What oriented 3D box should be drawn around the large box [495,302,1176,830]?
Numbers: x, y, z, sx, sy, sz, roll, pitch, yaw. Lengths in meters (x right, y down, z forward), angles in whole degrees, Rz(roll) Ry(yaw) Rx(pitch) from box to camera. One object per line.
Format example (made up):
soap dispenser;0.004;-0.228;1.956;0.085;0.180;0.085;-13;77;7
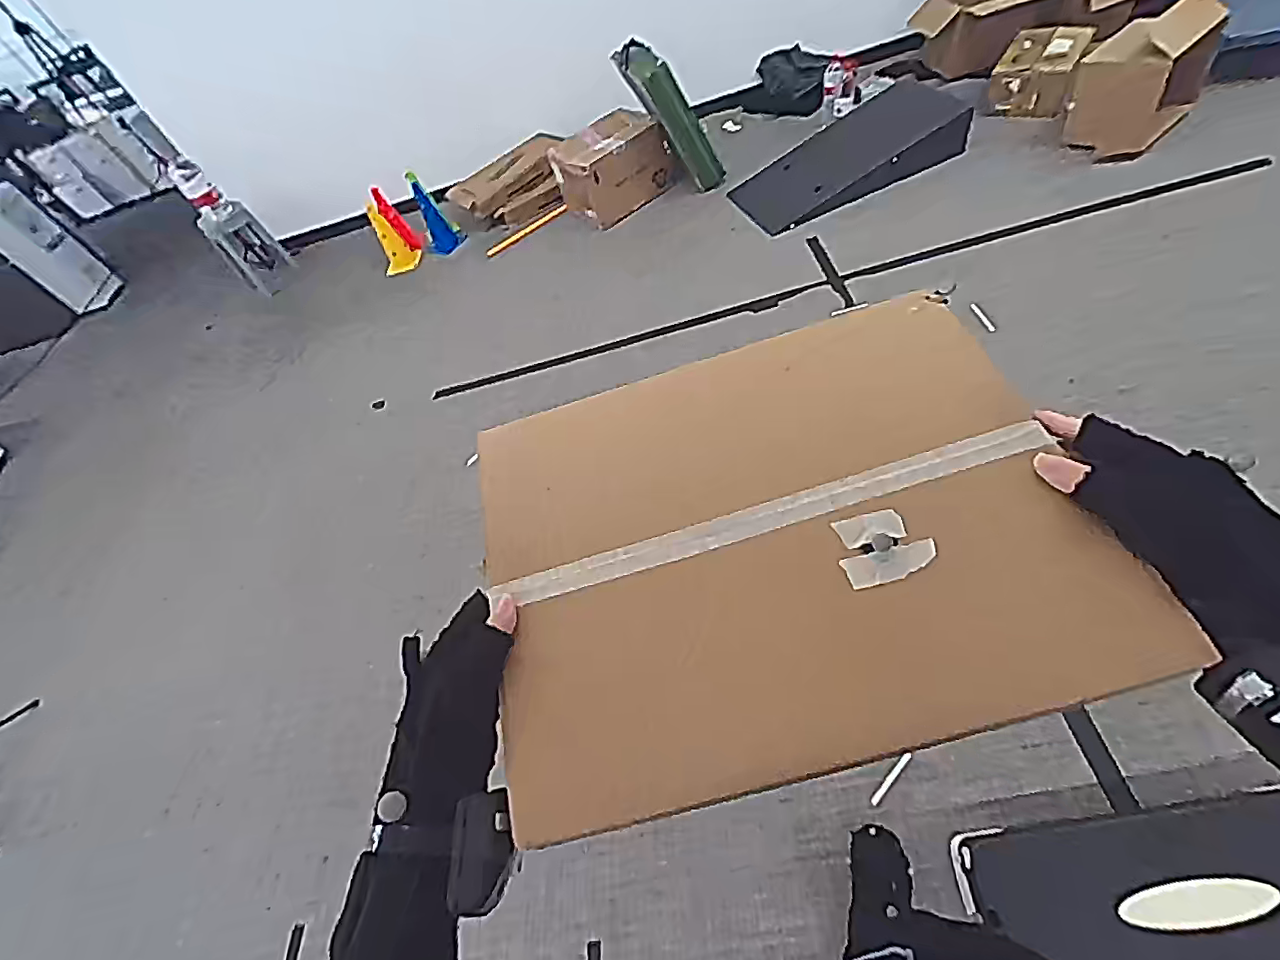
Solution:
large box;0.120;0.102;0.526;0.408;0.320;0.320;-17;60;3
